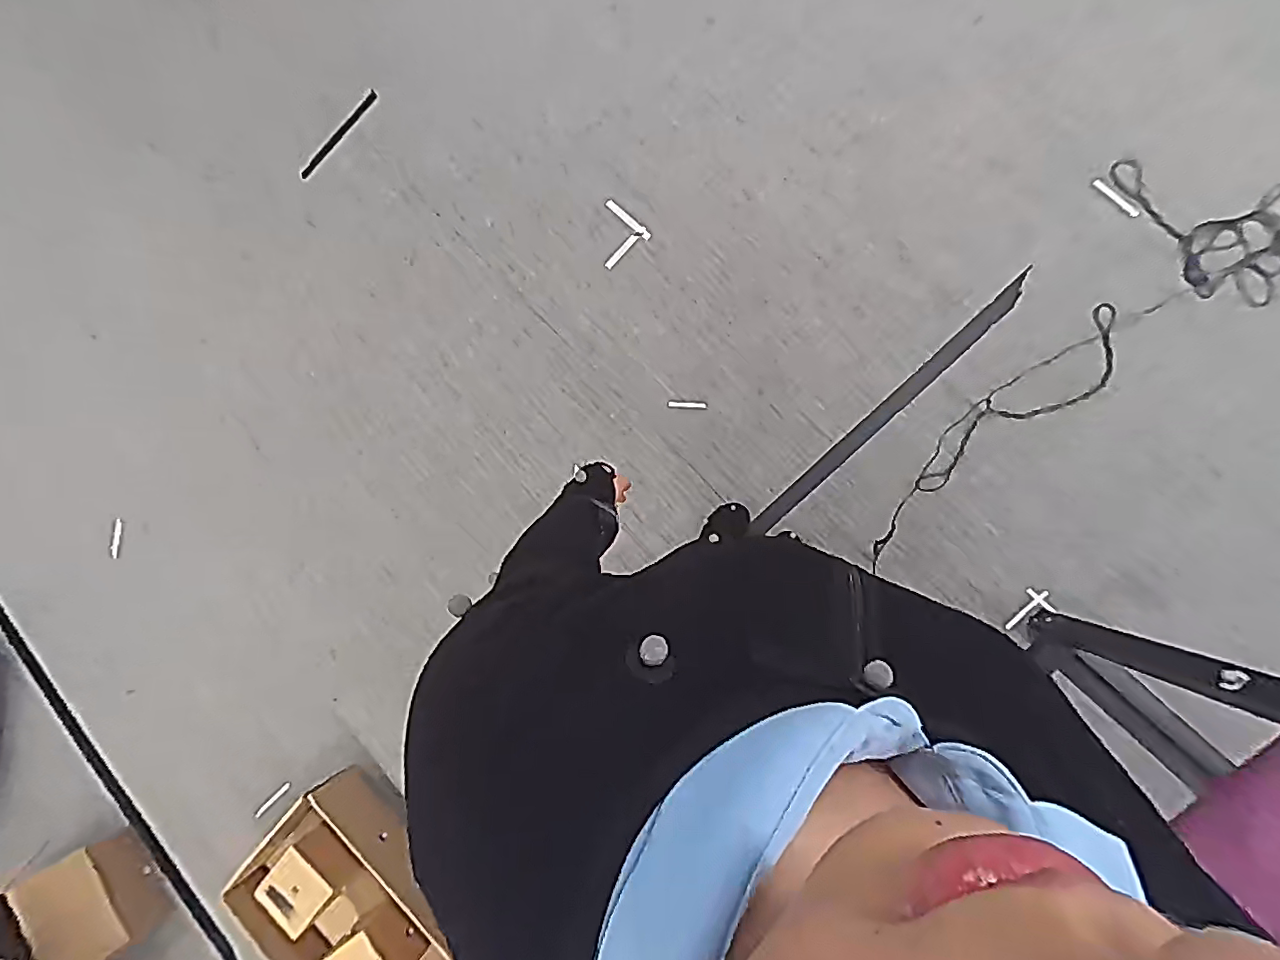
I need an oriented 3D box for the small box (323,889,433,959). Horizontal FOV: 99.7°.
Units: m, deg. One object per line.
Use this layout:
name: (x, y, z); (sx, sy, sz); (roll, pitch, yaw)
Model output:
small box: (-0.697, 1.264, 1.449); (0.179, 0.176, 0.168); (-39, 80, 5)
